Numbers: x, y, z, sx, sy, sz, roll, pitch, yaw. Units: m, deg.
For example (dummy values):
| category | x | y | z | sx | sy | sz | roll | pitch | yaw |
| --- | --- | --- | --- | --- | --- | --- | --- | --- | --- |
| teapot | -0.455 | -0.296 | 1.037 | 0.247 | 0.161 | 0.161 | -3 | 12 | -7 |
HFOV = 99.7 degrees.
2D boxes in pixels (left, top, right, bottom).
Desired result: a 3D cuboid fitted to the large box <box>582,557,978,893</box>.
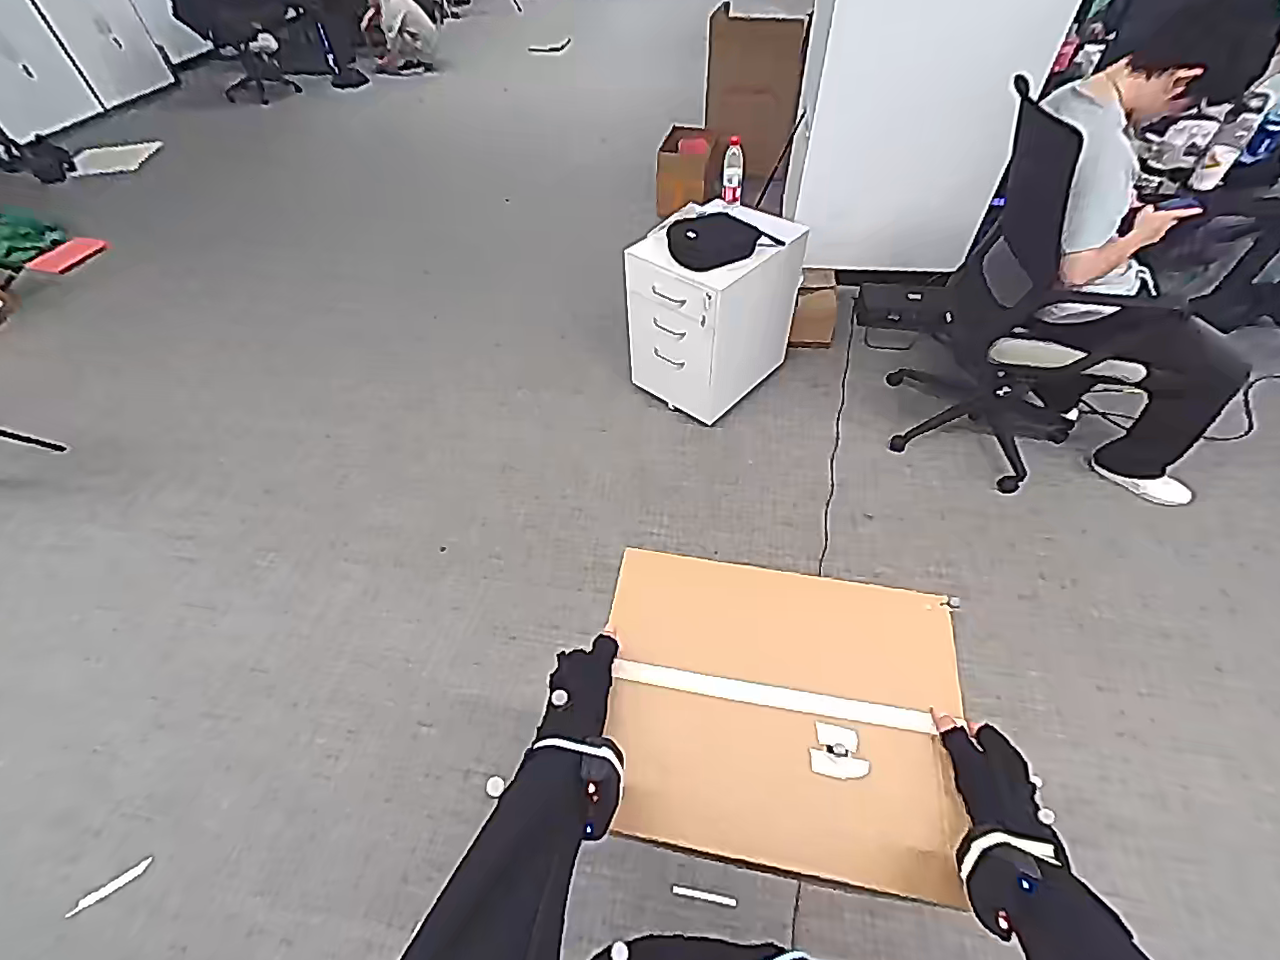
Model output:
| category | x | y | z | sx | sy | sz | roll | pitch | yaw |
| --- | --- | --- | --- | --- | --- | --- | --- | --- | --- |
| large box | 0.159 | 0.335 | 0.746 | 0.408 | 0.320 | 0.320 | 8 | 57 | 7 |
